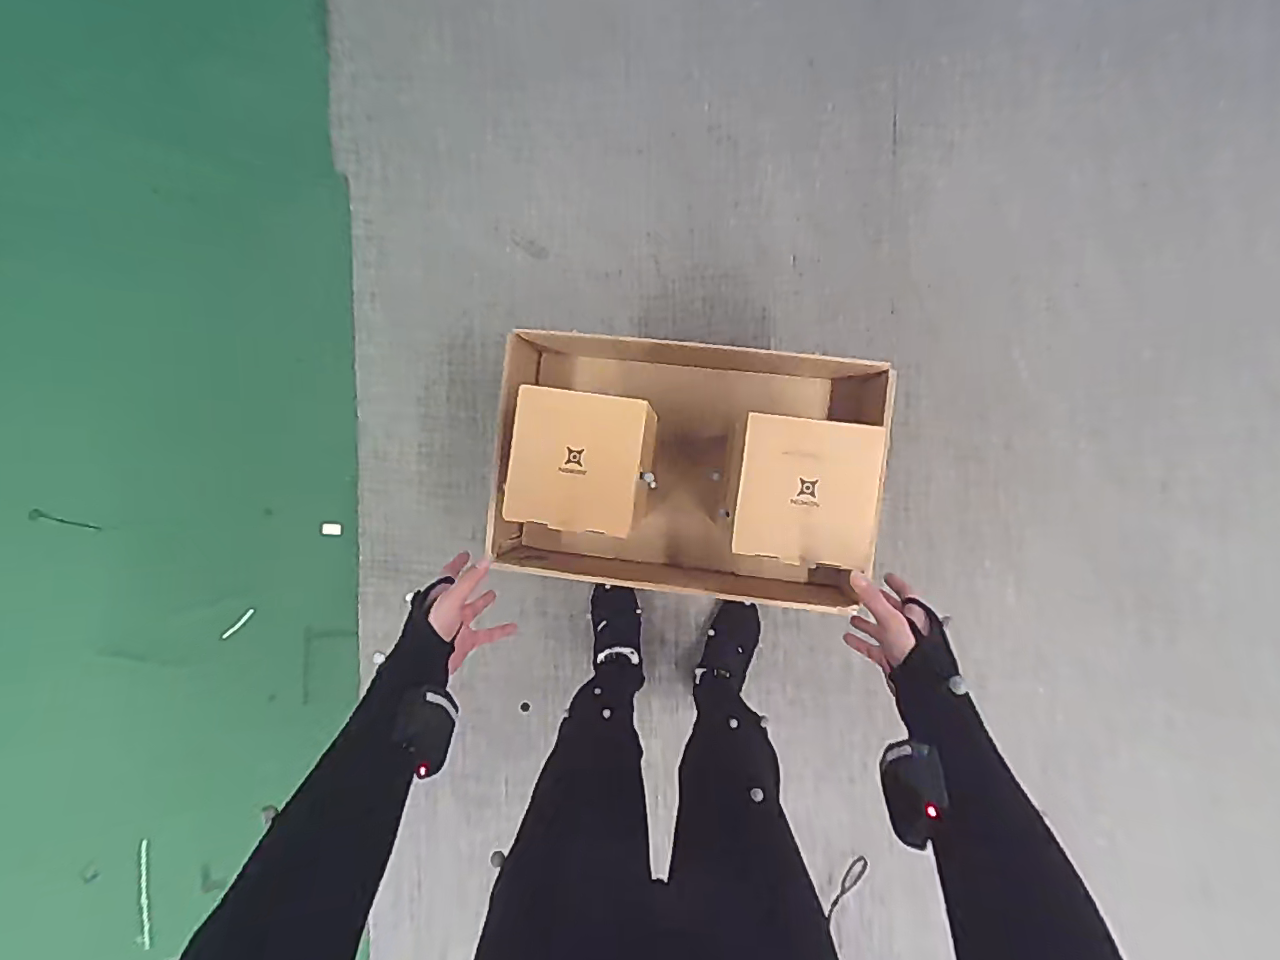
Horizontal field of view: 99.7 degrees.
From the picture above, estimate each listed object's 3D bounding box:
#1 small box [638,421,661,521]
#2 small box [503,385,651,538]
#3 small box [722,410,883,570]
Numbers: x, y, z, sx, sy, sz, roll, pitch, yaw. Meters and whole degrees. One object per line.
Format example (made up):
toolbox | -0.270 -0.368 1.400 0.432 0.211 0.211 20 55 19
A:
small box | -0.065 -0.025 0.923 0.179 0.176 0.168 9 92 5
small box | -0.077 -0.025 0.760 0.168 0.176 0.179 8 92 5
small box | 0.204 0.011 0.728 0.168 0.176 0.179 7 91 5
